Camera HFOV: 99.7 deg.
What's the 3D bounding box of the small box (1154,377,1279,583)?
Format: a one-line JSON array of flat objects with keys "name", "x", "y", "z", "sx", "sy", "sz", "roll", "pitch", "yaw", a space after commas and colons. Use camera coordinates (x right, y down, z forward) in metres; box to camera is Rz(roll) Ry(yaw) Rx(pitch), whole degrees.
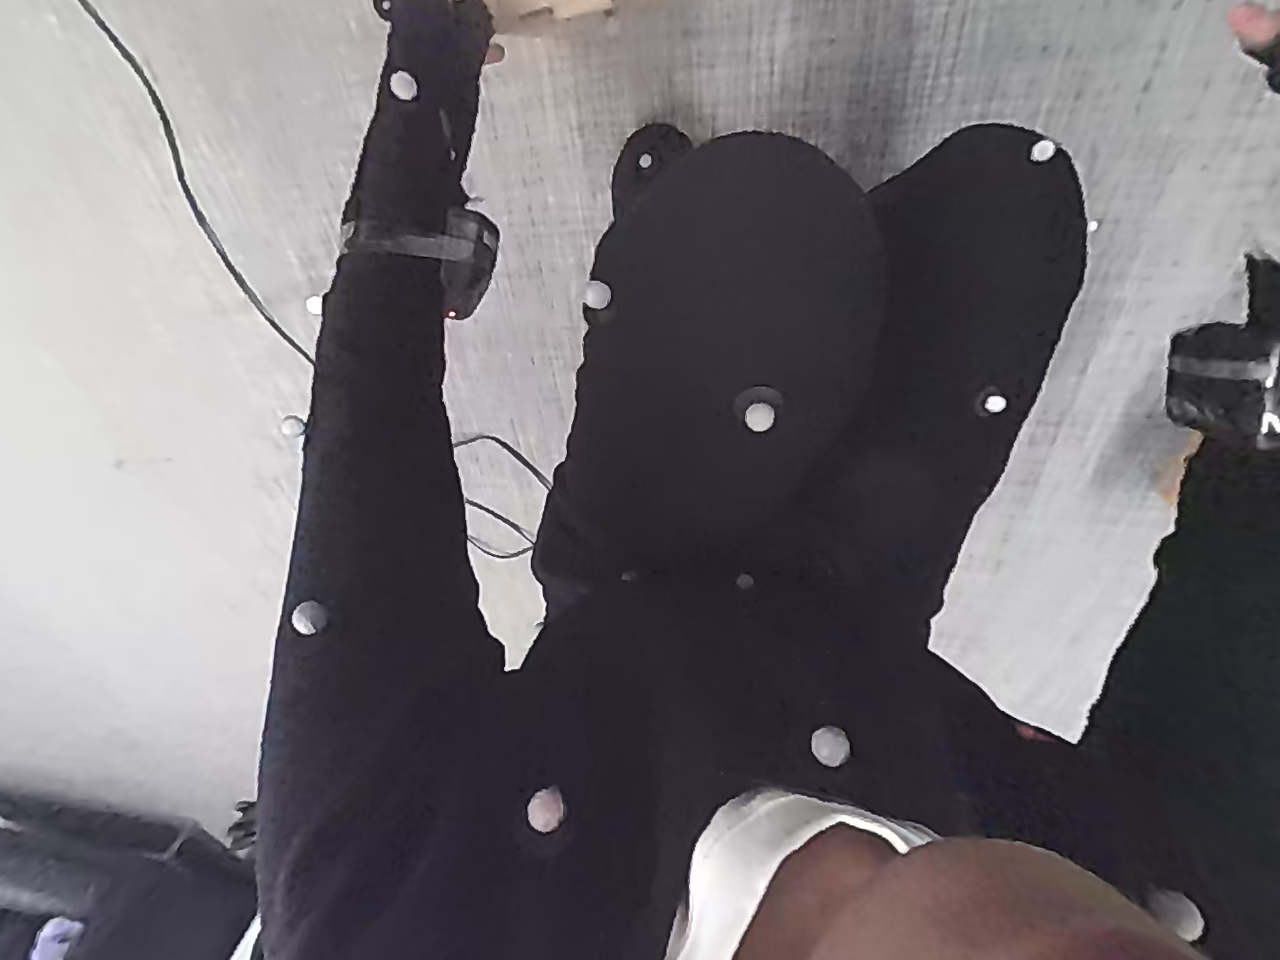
[{"name": "small box", "x": 0.727, "y": -0.002, "z": 0.585, "sx": 0.179, "sy": 0.176, "sz": 0.168, "roll": 4, "pitch": 128, "yaw": 11}]
